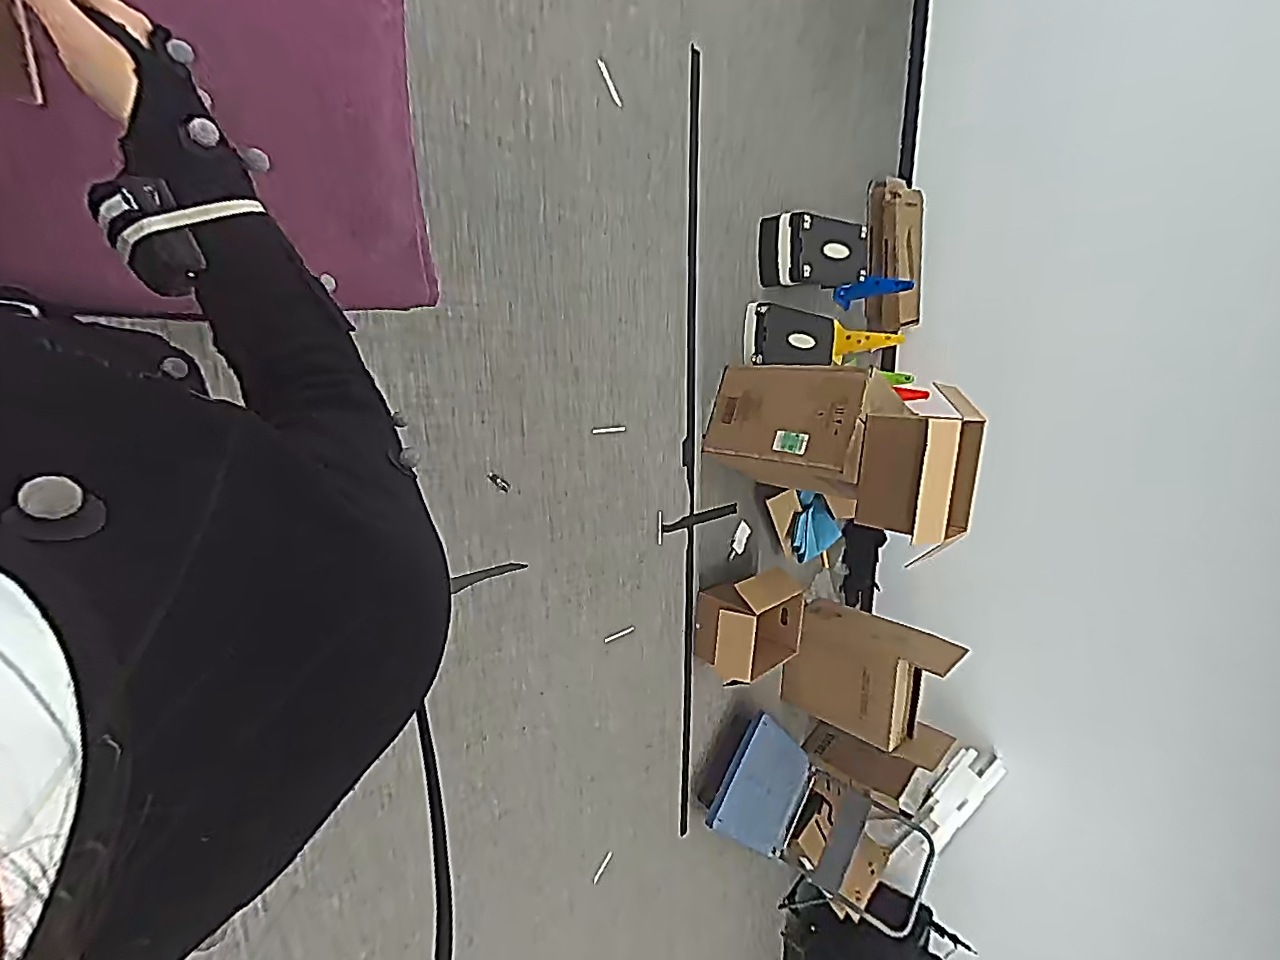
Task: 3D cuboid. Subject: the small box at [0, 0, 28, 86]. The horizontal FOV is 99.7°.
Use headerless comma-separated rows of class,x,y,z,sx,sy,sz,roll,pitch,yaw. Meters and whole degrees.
small box,-0.460,-0.340,0.277,0.179,0.176,0.168,-12,105,-43
